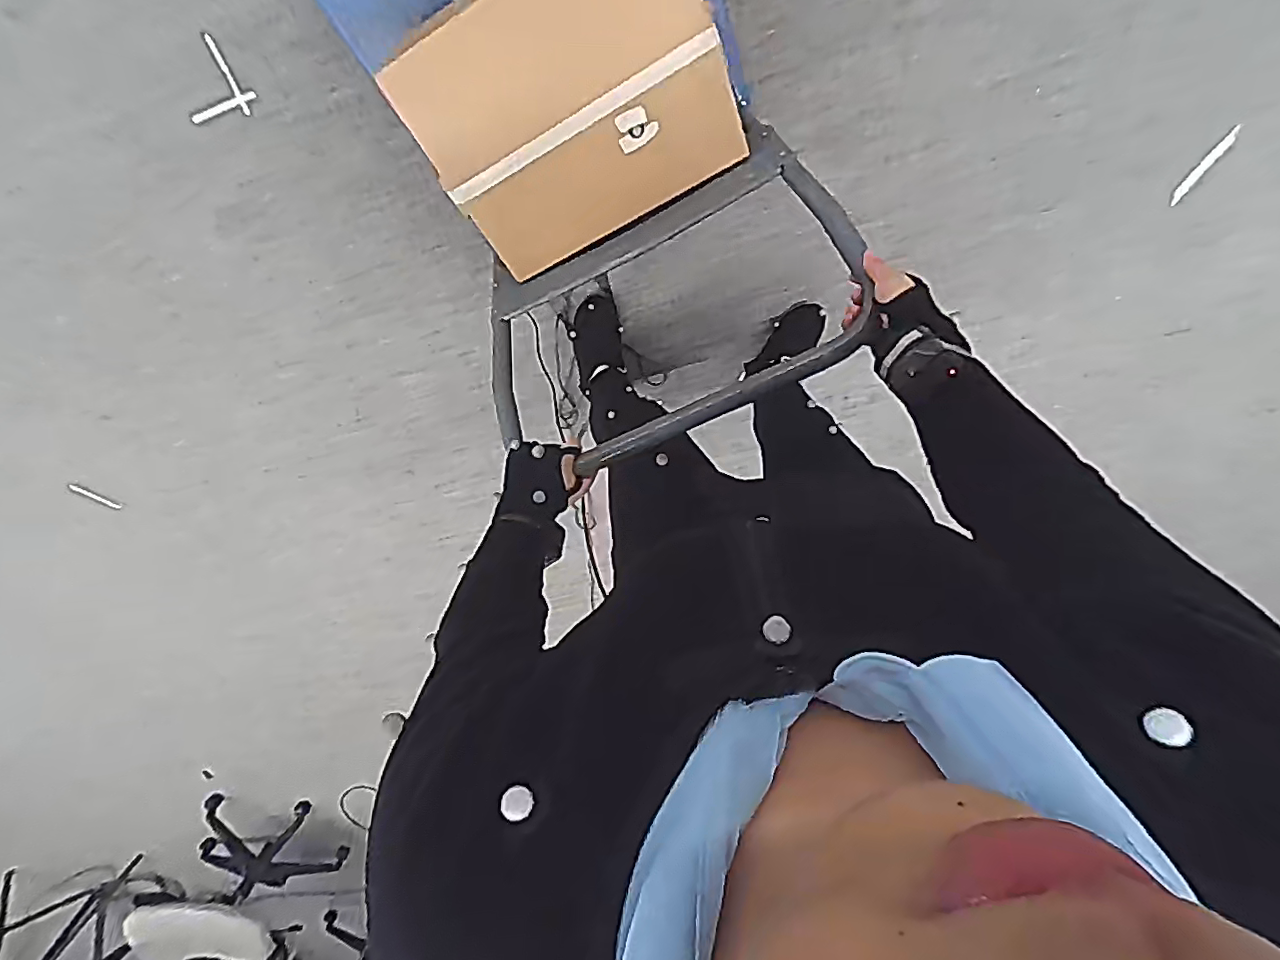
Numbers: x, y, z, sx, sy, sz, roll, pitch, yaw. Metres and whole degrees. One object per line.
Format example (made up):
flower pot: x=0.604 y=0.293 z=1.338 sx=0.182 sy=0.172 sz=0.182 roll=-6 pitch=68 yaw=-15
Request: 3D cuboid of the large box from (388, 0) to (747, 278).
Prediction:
large box: x=-0.105 y=-0.601 z=0.838 sx=0.408 sy=0.320 sz=0.320 roll=-25 pitch=136 yaw=13
